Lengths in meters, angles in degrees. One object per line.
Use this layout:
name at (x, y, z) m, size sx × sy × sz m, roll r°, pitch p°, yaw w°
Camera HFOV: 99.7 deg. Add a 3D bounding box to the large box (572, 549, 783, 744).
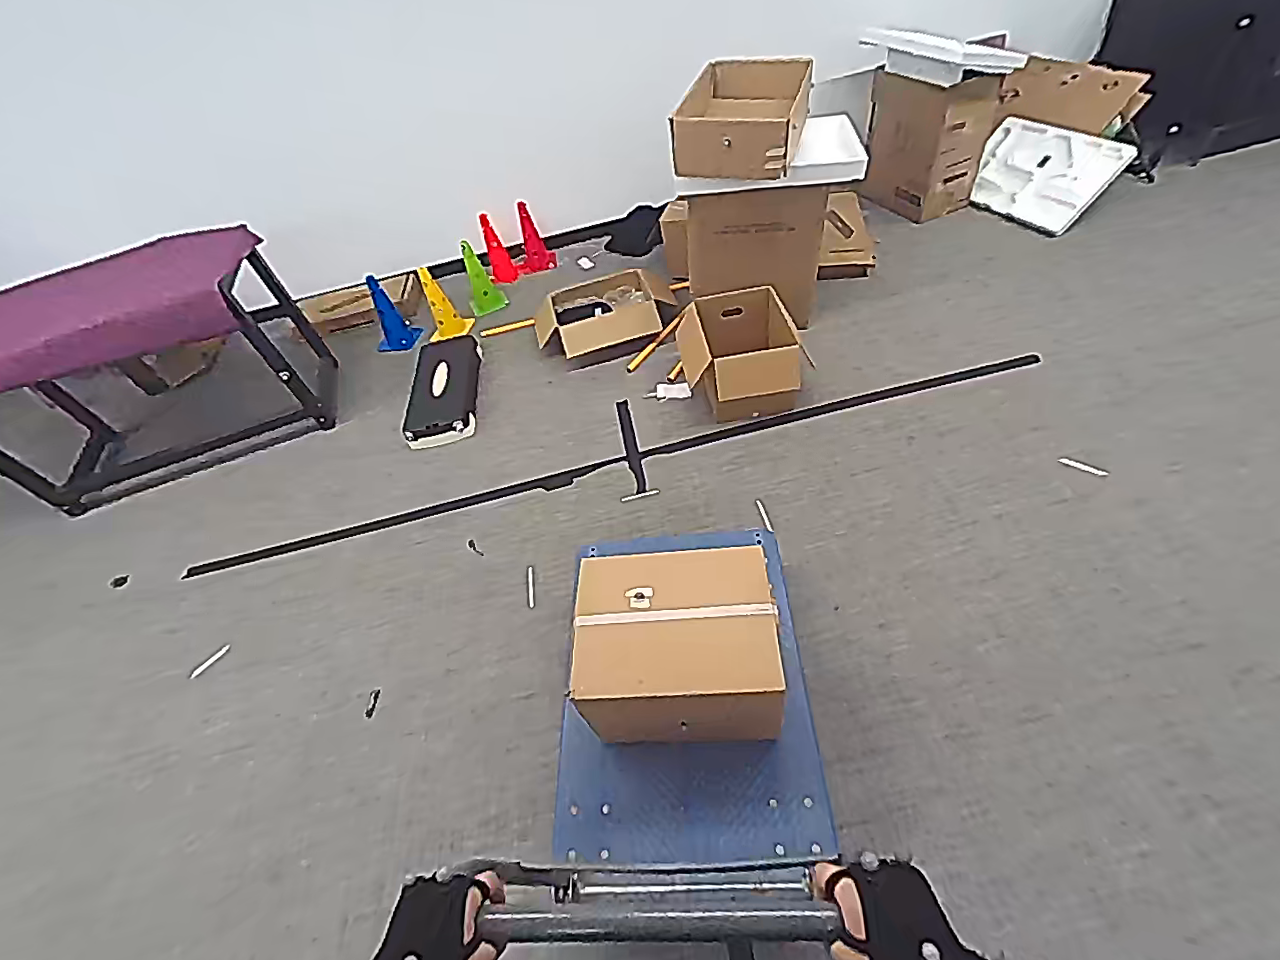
large box at (0.091, 0.385, 1.216) m, size 0.408 × 0.320 × 0.320 m, roll -6°, pitch 48°, yaw 8°
